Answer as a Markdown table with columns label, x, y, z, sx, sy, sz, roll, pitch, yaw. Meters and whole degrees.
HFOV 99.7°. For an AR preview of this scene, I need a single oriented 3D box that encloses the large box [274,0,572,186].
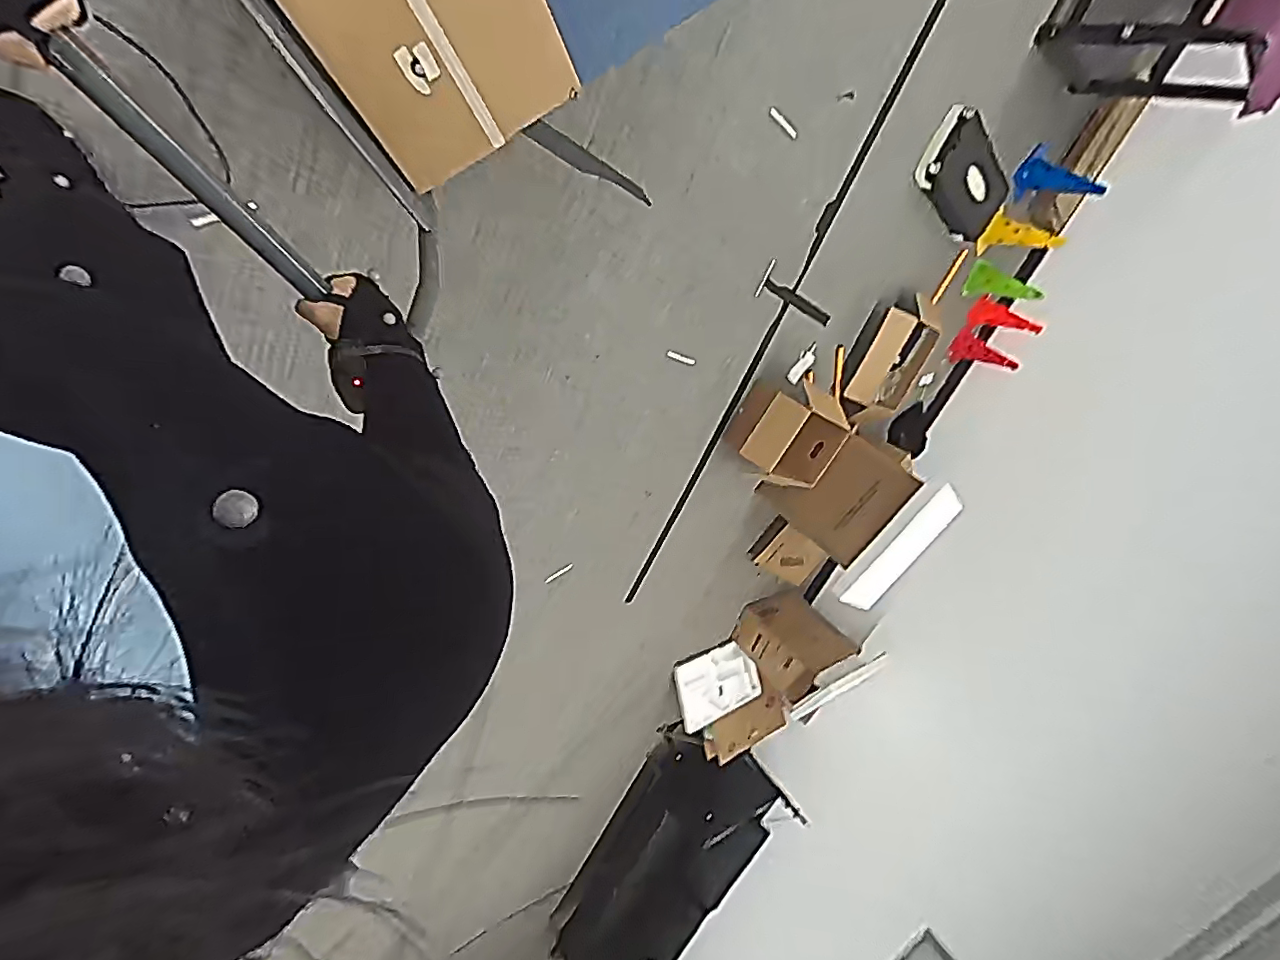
| label | x | y | z | sx | sy | sz | roll | pitch | yaw |
| --- | --- | --- | --- | --- | --- | --- | --- | --- | --- |
| large box | -0.362 | -0.760 | 0.815 | 0.320 | 0.320 | 0.408 | -29 | 142 | 5 |
